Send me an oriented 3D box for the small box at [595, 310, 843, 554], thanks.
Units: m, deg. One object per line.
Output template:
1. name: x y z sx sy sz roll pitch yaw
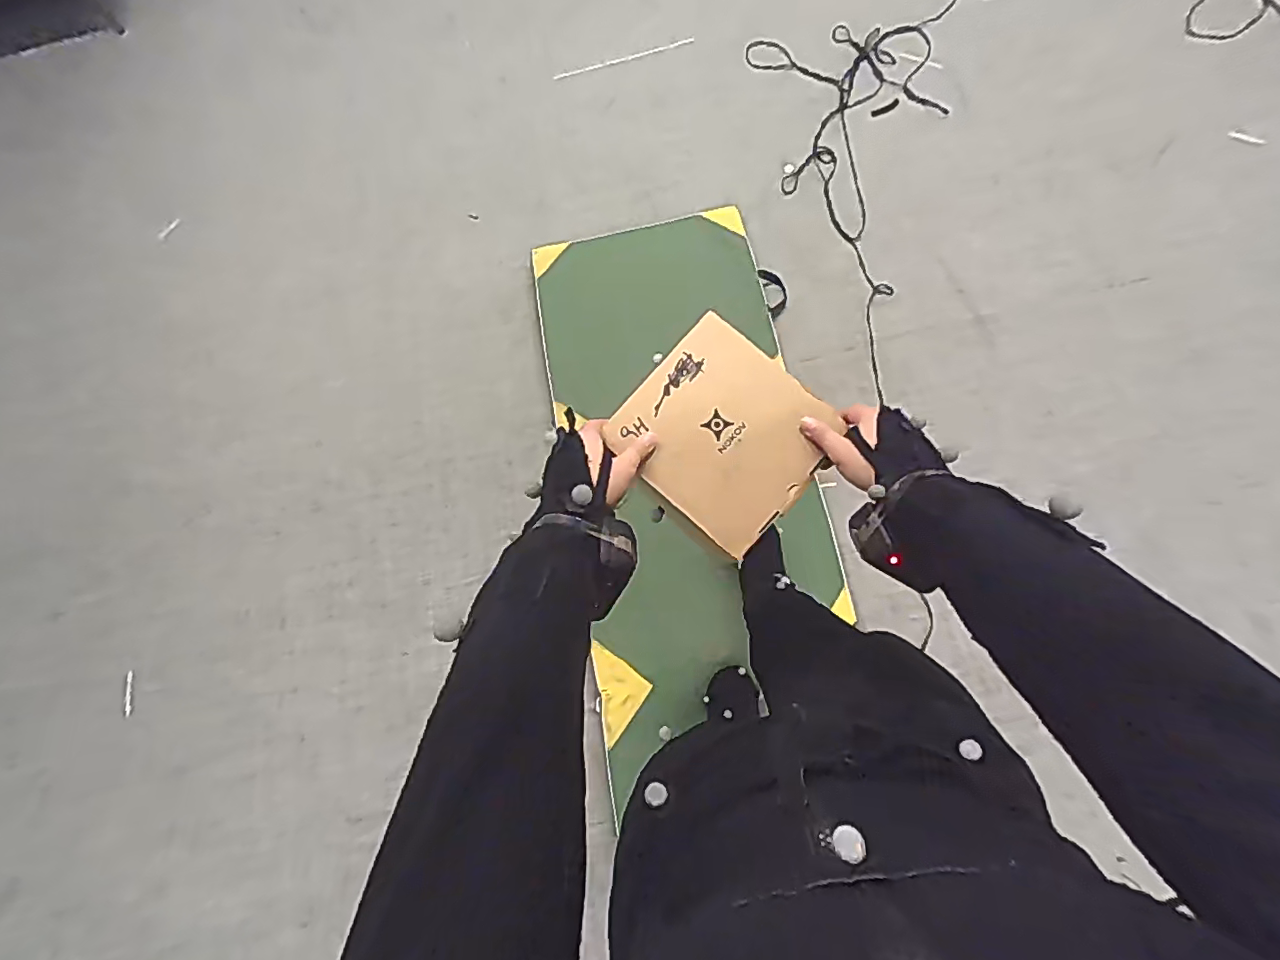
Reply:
1. small box: 0.074 -0.039 0.581 0.179 0.176 0.168 42 84 5
